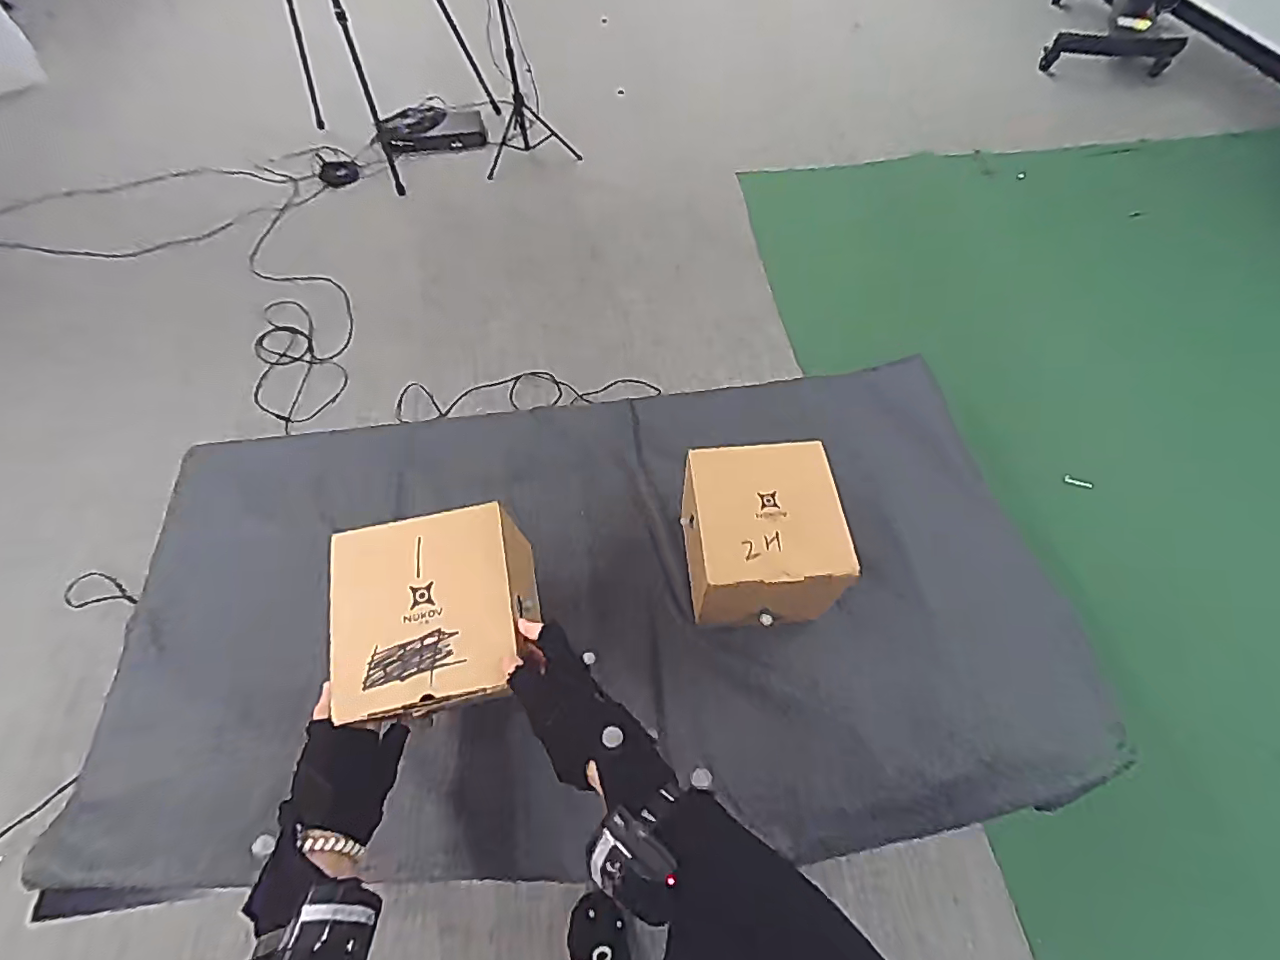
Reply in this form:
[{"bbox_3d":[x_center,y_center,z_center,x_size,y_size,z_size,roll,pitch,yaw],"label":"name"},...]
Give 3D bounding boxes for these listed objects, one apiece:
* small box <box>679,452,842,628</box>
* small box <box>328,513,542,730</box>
[{"bbox_3d":[0.137,0.080,0.689,0.168,0.176,0.179,0,62,1],"label":"small box"},{"bbox_3d":[-0.206,0.156,0.580,0.168,0.176,0.179,-11,67,-5],"label":"small box"}]
